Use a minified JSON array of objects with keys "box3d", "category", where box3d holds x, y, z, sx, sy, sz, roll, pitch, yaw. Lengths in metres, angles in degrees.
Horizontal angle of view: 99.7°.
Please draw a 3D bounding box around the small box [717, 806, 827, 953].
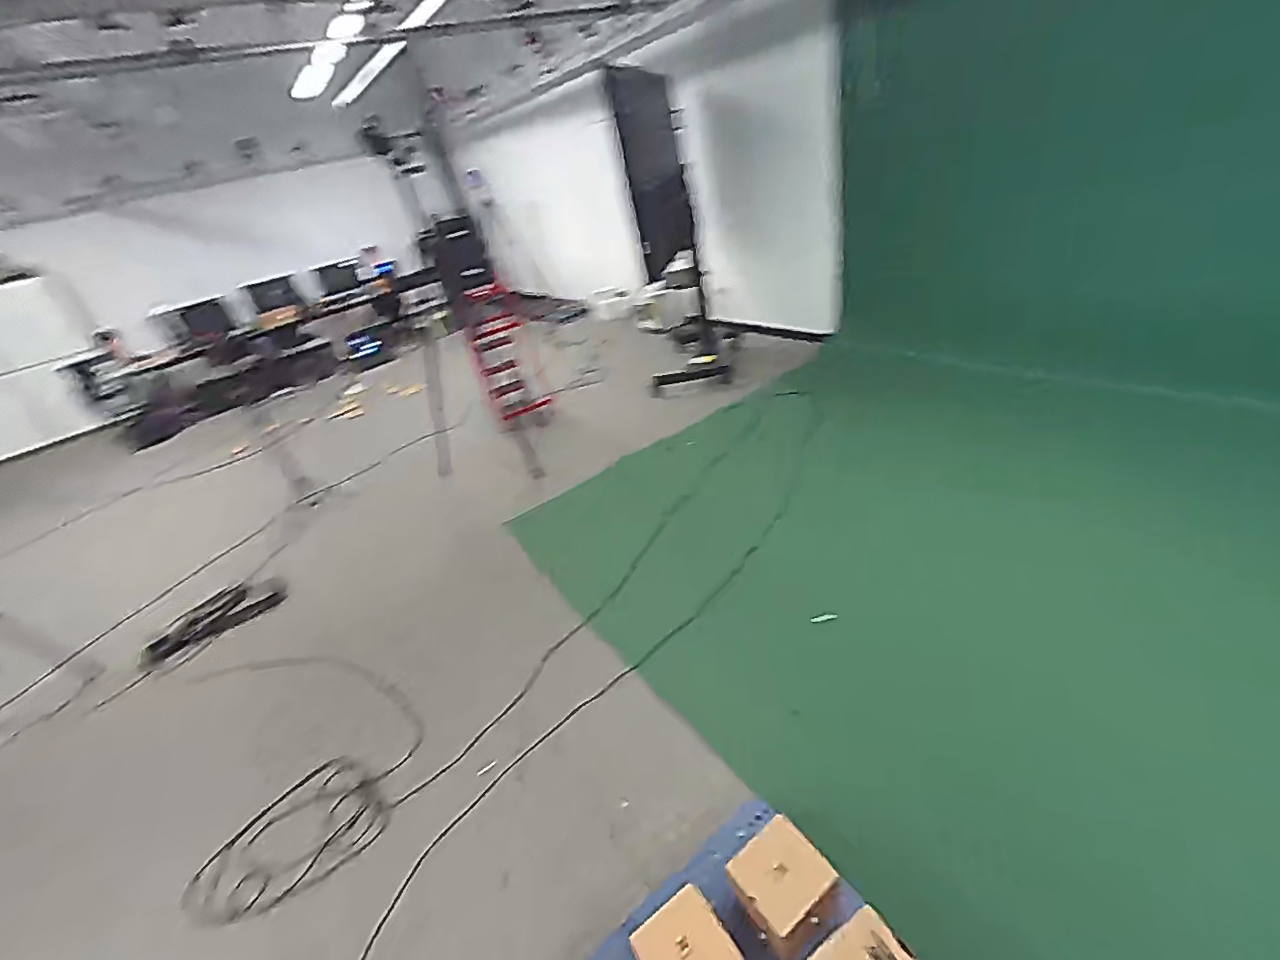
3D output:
[{"box3d":[0.299,0.885,1.200,0.179,0.176,0.168,-29,35,-23],"category":"small box"}]
